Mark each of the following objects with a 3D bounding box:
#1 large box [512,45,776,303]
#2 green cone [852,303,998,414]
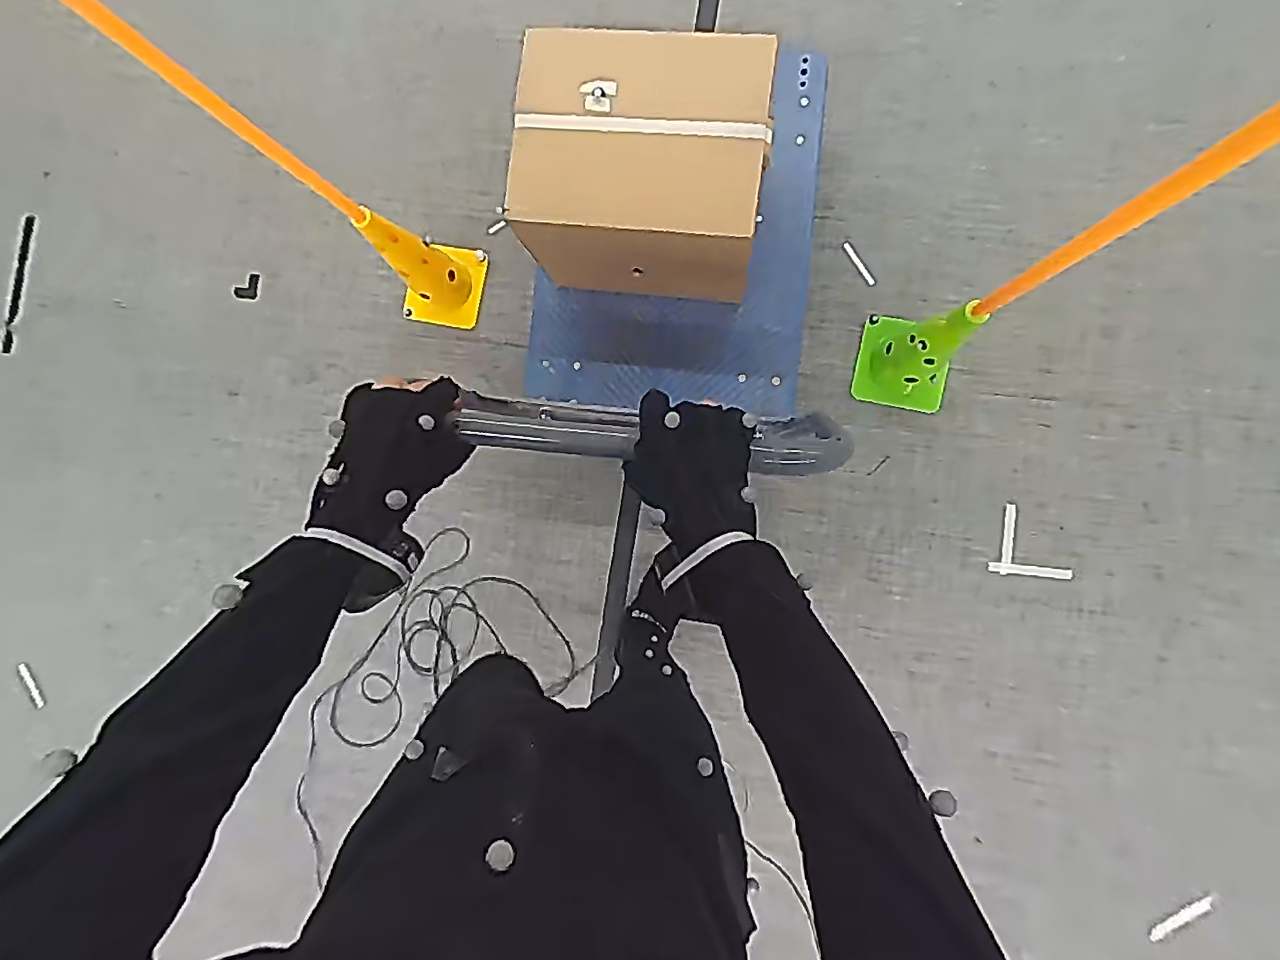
[{"bbox_3d":[0.021,-0.540,1.010,0.408,0.320,0.320,8,91,8],"label":"large box"},{"bbox_3d":[0.588,-0.269,1.076,0.202,0.368,0.200,12,90,6],"label":"green cone"}]
